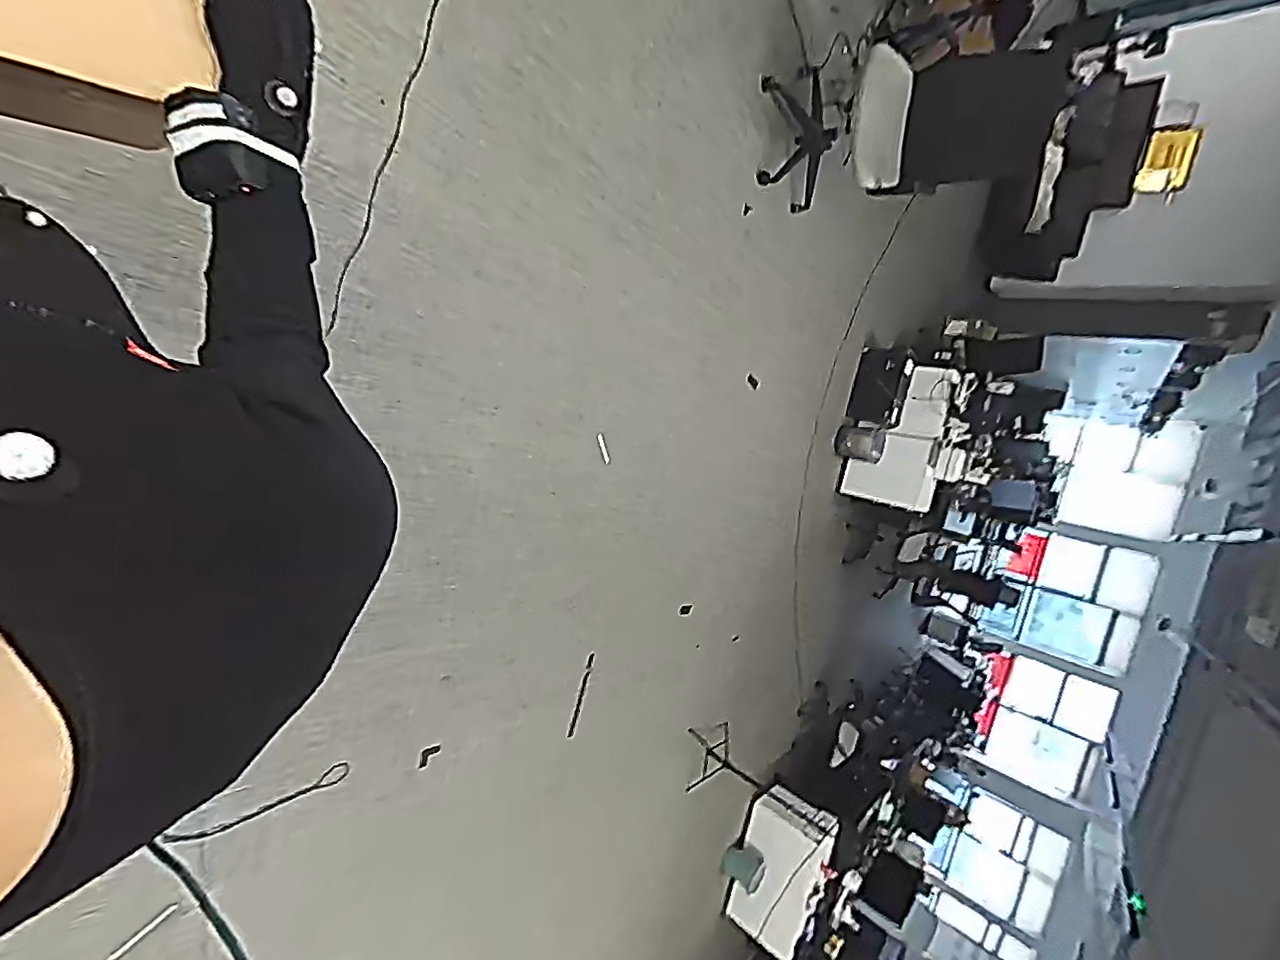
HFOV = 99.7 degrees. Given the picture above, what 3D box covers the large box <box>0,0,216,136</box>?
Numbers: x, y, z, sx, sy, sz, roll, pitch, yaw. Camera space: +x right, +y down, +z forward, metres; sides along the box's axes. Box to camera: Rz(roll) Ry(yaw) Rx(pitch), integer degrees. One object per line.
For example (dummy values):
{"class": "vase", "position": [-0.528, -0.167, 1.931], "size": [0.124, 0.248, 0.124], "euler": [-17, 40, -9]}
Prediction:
{"class": "large box", "position": [-0.557, -0.448, 0.322], "size": [0.408, 0.320, 0.320], "euler": [-13, 118, -47]}
